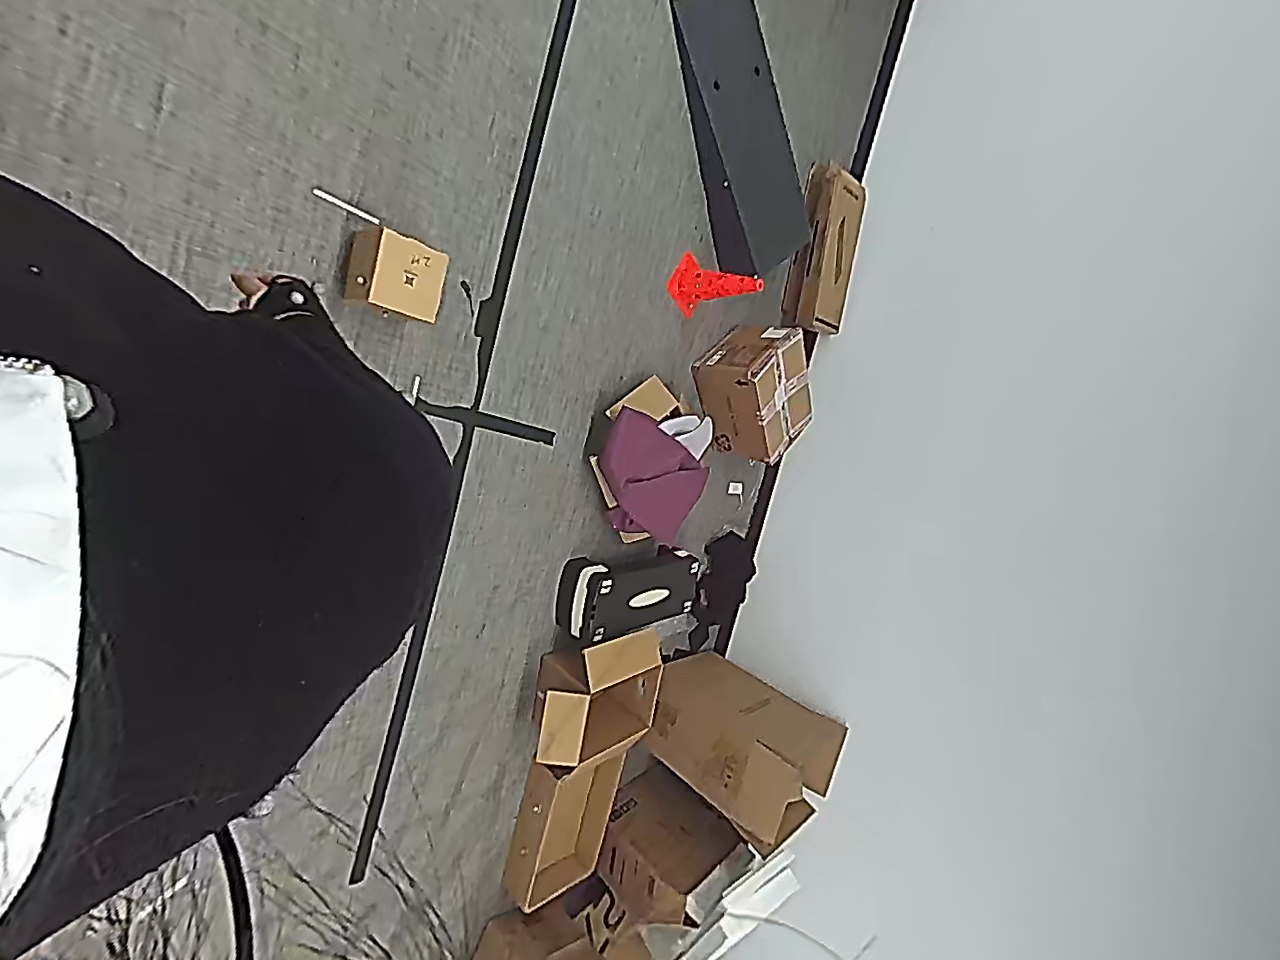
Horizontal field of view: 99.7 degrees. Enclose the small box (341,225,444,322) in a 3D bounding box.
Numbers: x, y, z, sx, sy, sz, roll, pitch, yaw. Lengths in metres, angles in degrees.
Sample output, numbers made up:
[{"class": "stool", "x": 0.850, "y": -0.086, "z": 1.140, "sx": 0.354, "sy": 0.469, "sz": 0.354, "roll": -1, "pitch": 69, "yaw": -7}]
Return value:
[{"class": "small box", "x": -0.622, "y": -0.508, "z": 1.347, "sx": 0.168, "sy": 0.176, "sz": 0.179, "roll": 9, "pitch": 97, "yaw": -50}]
